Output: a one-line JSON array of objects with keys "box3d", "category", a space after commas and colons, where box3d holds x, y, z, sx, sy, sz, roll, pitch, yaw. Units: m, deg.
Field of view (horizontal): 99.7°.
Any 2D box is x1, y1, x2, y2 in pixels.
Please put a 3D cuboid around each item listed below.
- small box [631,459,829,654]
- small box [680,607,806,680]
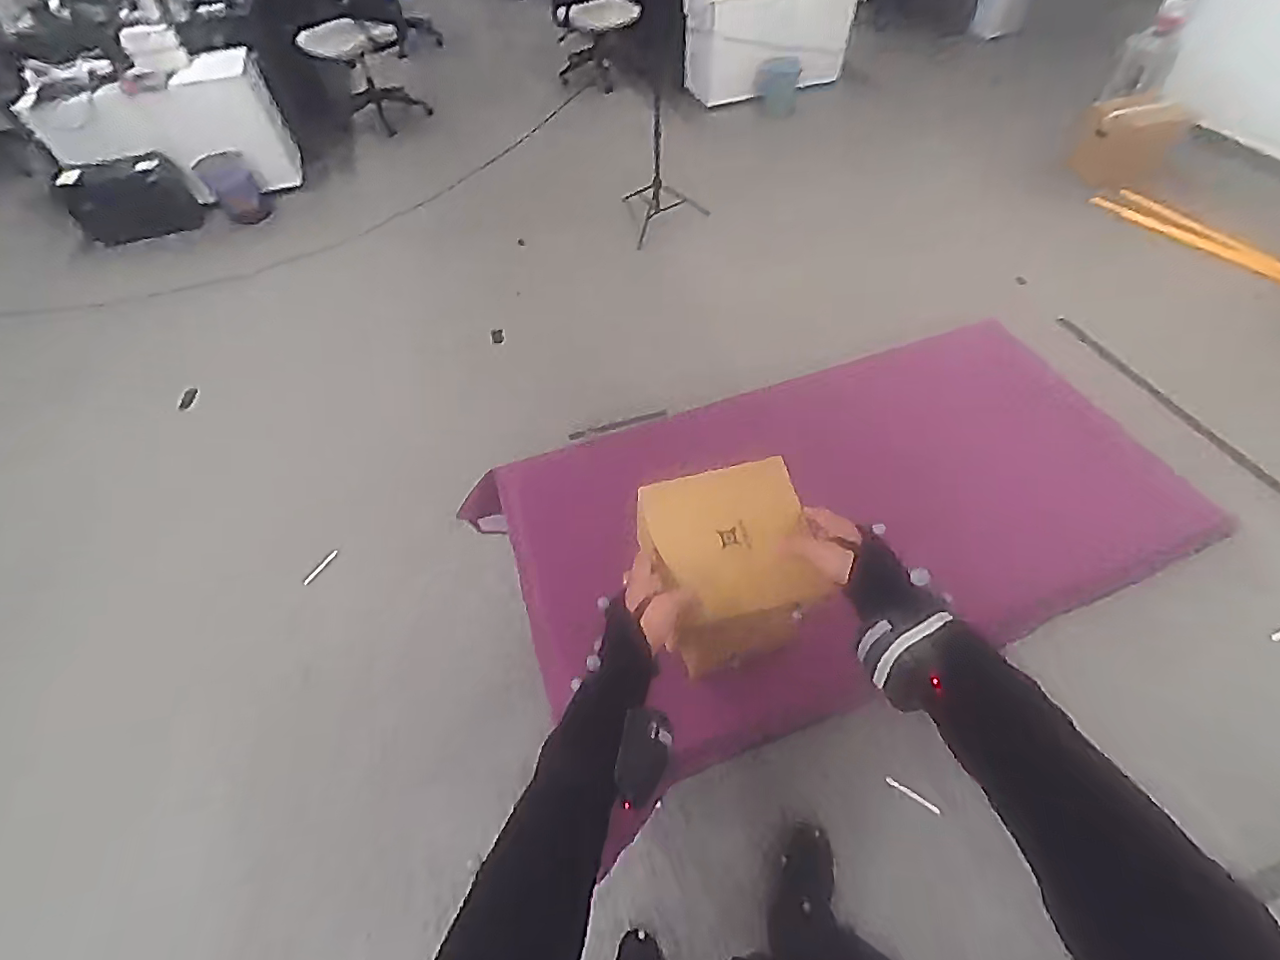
[{"box3d": [0.092, 0.100, 0.649, 0.179, 0.176, 0.168, -13, 66, -7], "category": "small box"}, {"box3d": [0.122, 0.176, 0.821, 0.168, 0.176, 0.179, -17, 56, -8], "category": "small box"}]
